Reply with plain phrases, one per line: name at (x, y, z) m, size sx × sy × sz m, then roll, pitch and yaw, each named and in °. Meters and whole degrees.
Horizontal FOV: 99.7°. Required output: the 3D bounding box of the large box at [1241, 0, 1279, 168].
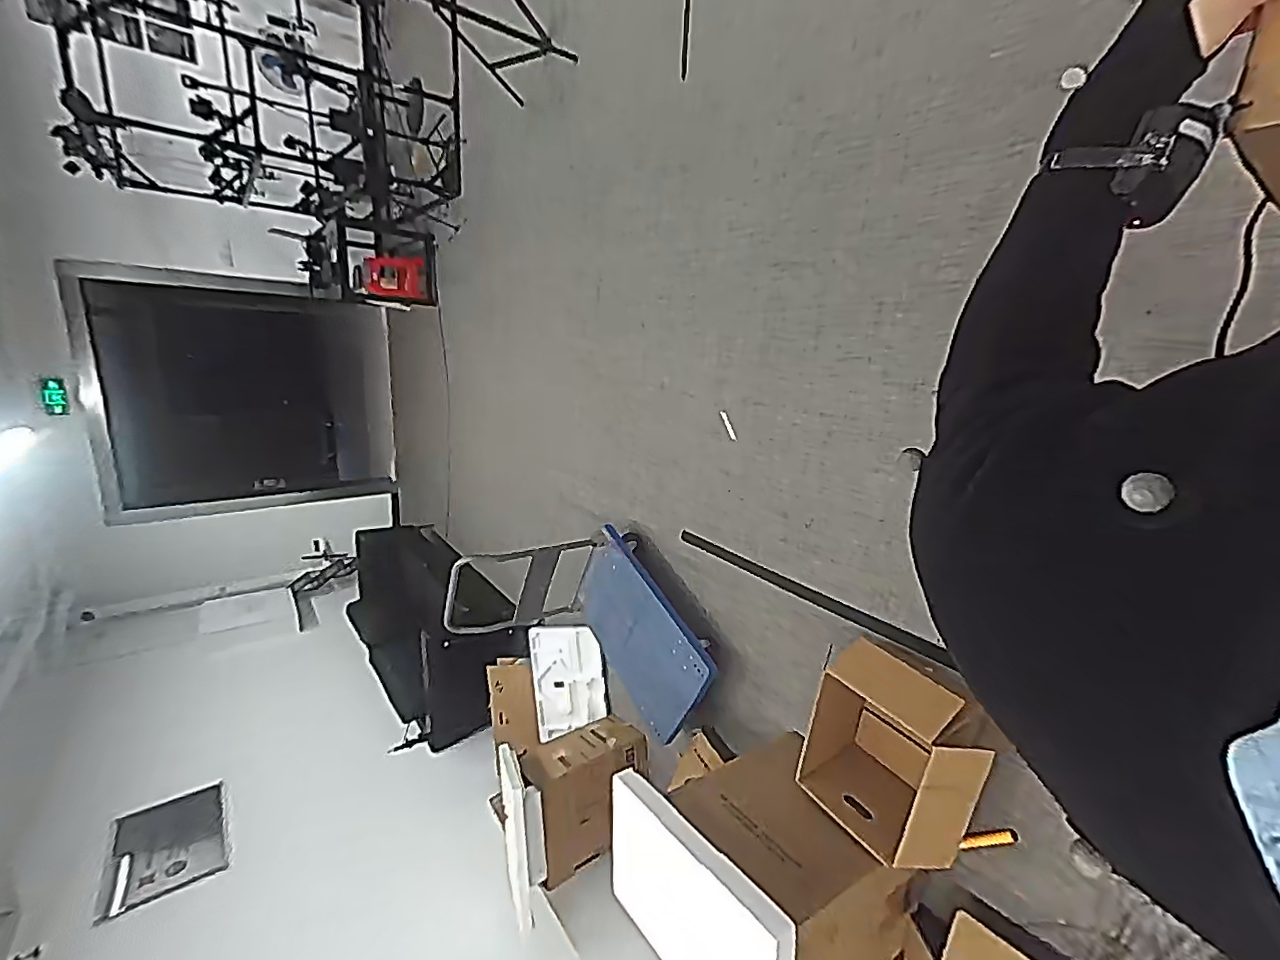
large box at (0.662, -0.362, 0.265) m, size 0.408 × 0.320 × 0.320 m, roll 23°, pitch 113°, yaw 53°
